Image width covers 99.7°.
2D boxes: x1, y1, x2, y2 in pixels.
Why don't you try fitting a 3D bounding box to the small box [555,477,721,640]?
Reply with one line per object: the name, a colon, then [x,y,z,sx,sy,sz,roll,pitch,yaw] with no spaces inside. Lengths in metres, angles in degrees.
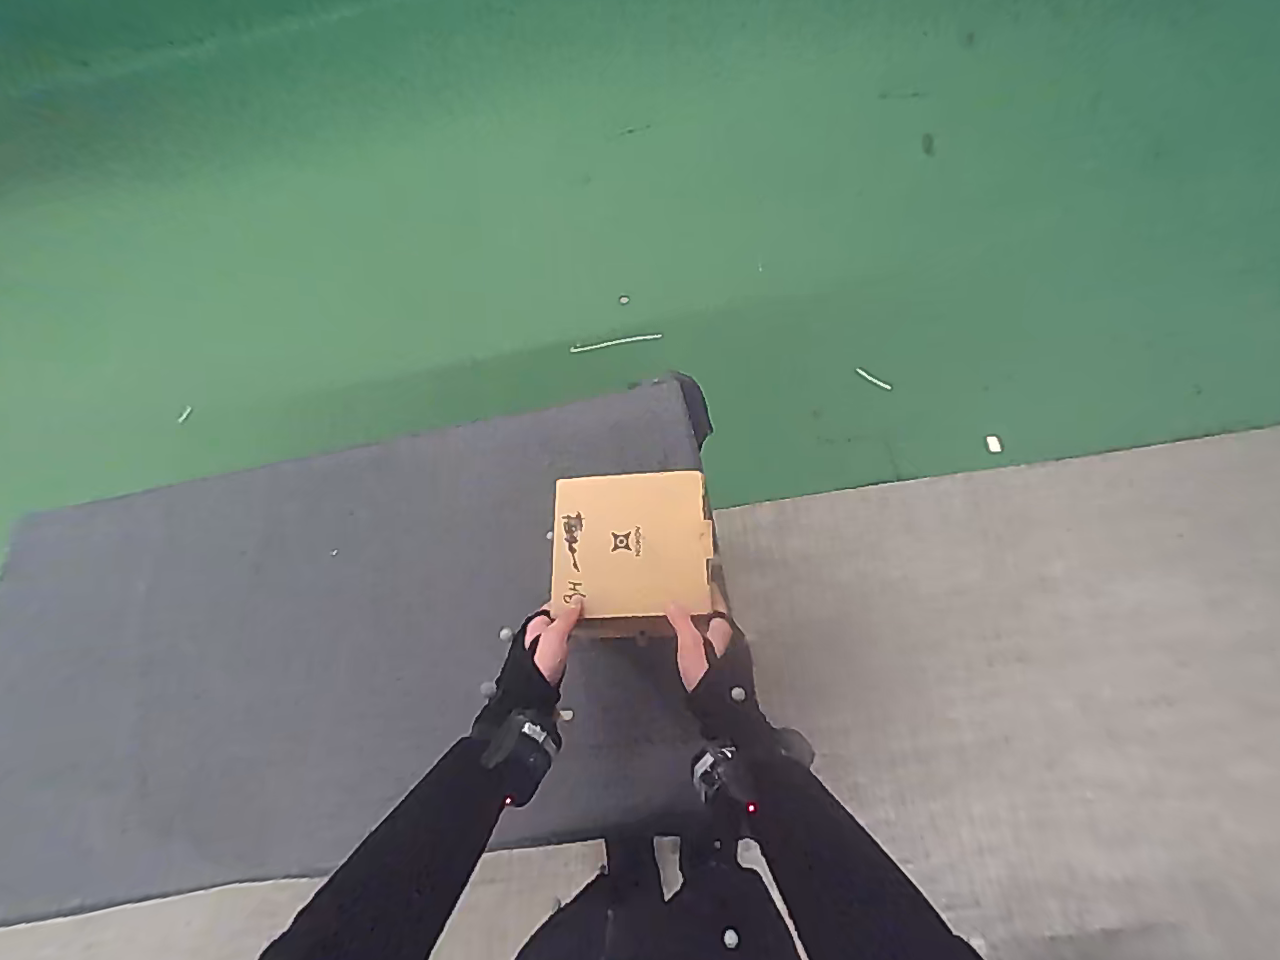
small box: [0.002,0.103,0.666,0.179,0.176,0.168,-2,67,4]
